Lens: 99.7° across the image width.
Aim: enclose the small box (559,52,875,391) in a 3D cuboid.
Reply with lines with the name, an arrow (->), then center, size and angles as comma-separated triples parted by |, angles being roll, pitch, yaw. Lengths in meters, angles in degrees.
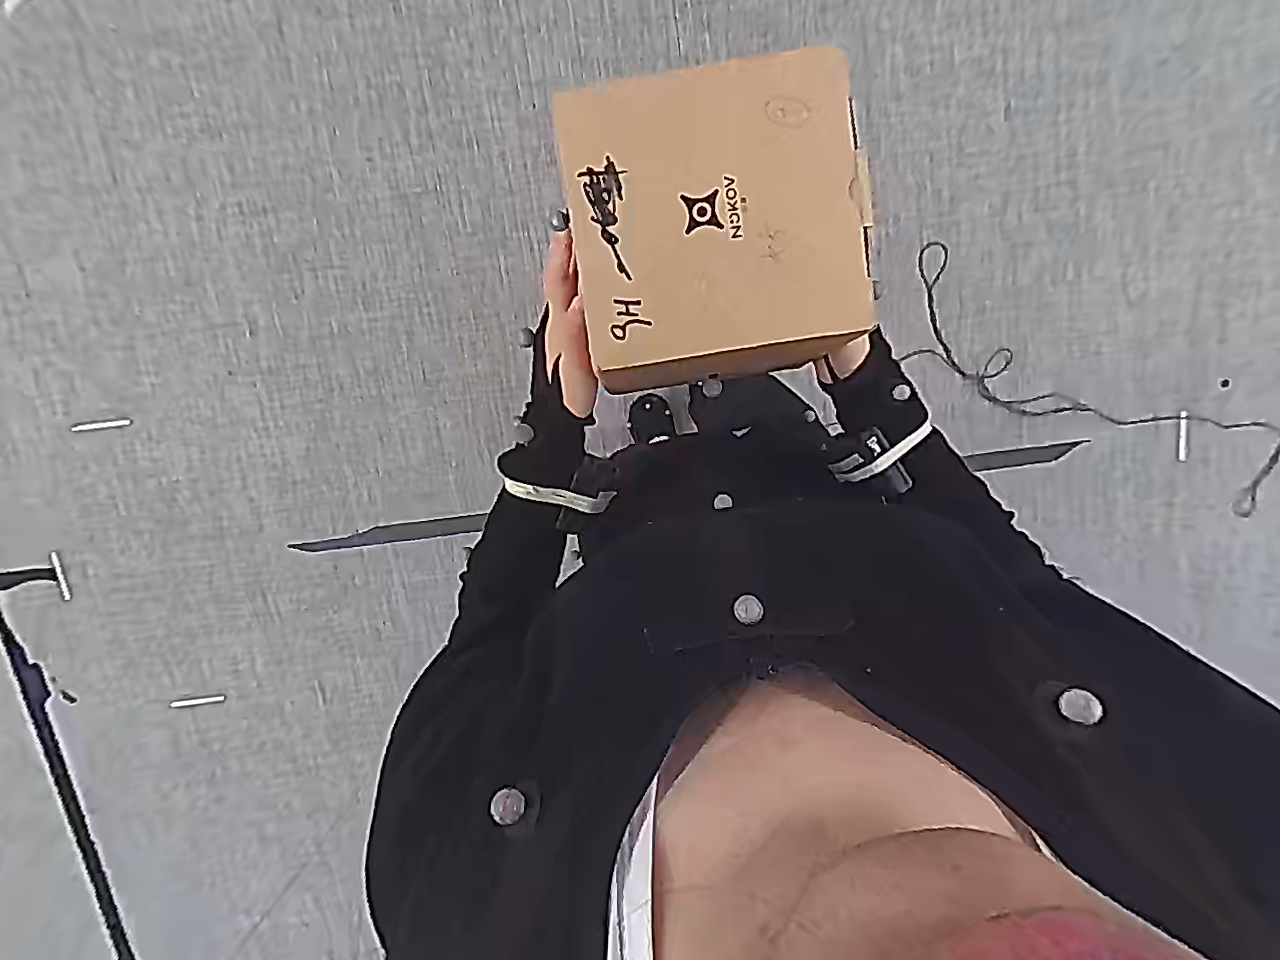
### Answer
small box -> 0.045, -0.165, 0.401 | 0.179, 0.176, 0.168 | -8, 93, 0
